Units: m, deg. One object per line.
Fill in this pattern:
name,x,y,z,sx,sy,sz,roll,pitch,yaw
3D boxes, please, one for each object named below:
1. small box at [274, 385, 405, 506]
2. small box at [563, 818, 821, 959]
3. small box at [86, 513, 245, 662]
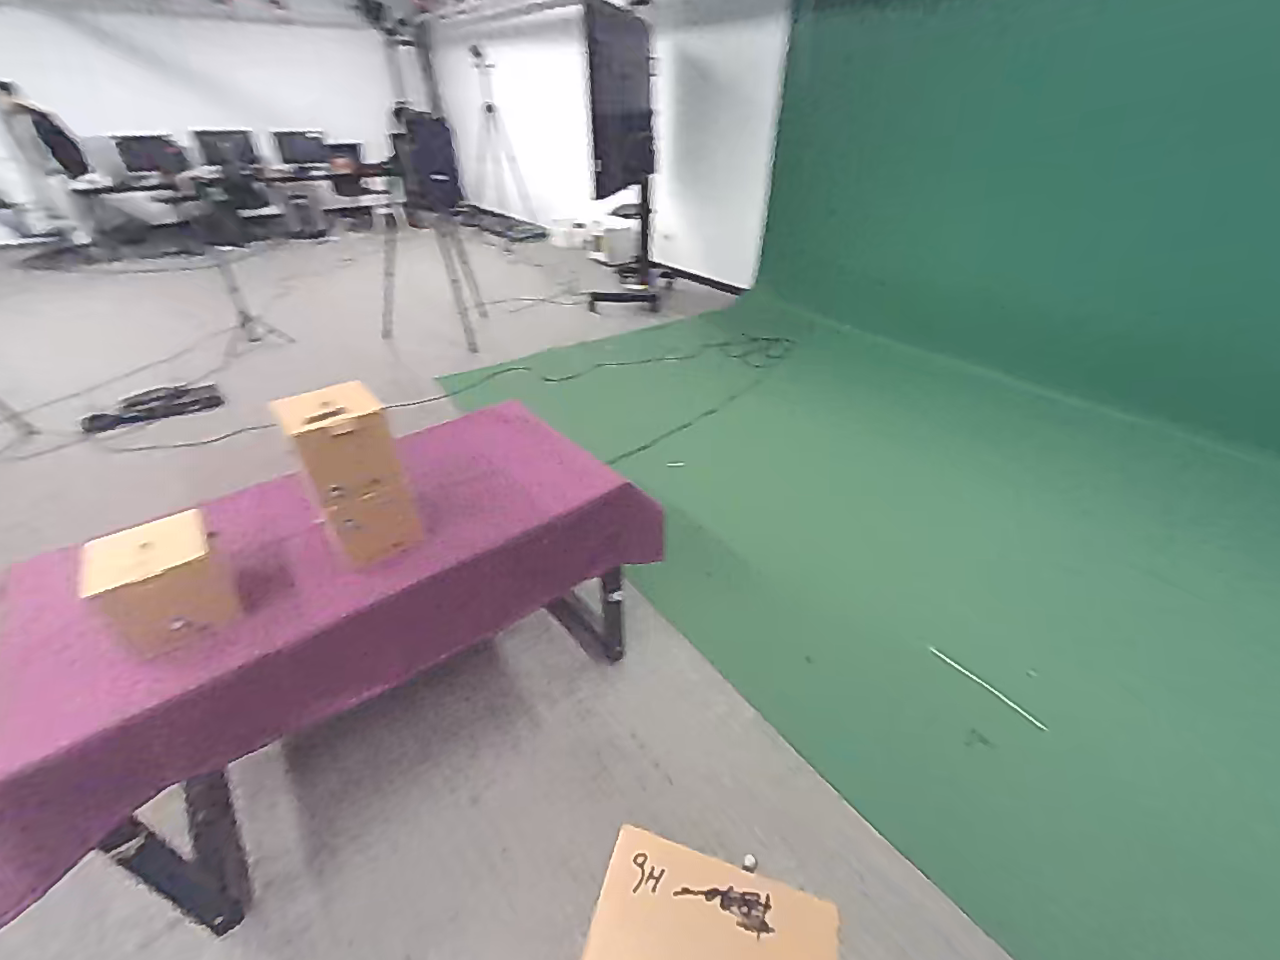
small box,-0.599,-0.068,1.089,0.168,0.176,0.179,-25,40,-32
small box,0.030,0.395,0.410,0.168,0.176,0.179,12,50,14
small box,-0.863,0.195,0.995,0.168,0.176,0.179,-24,41,-31
